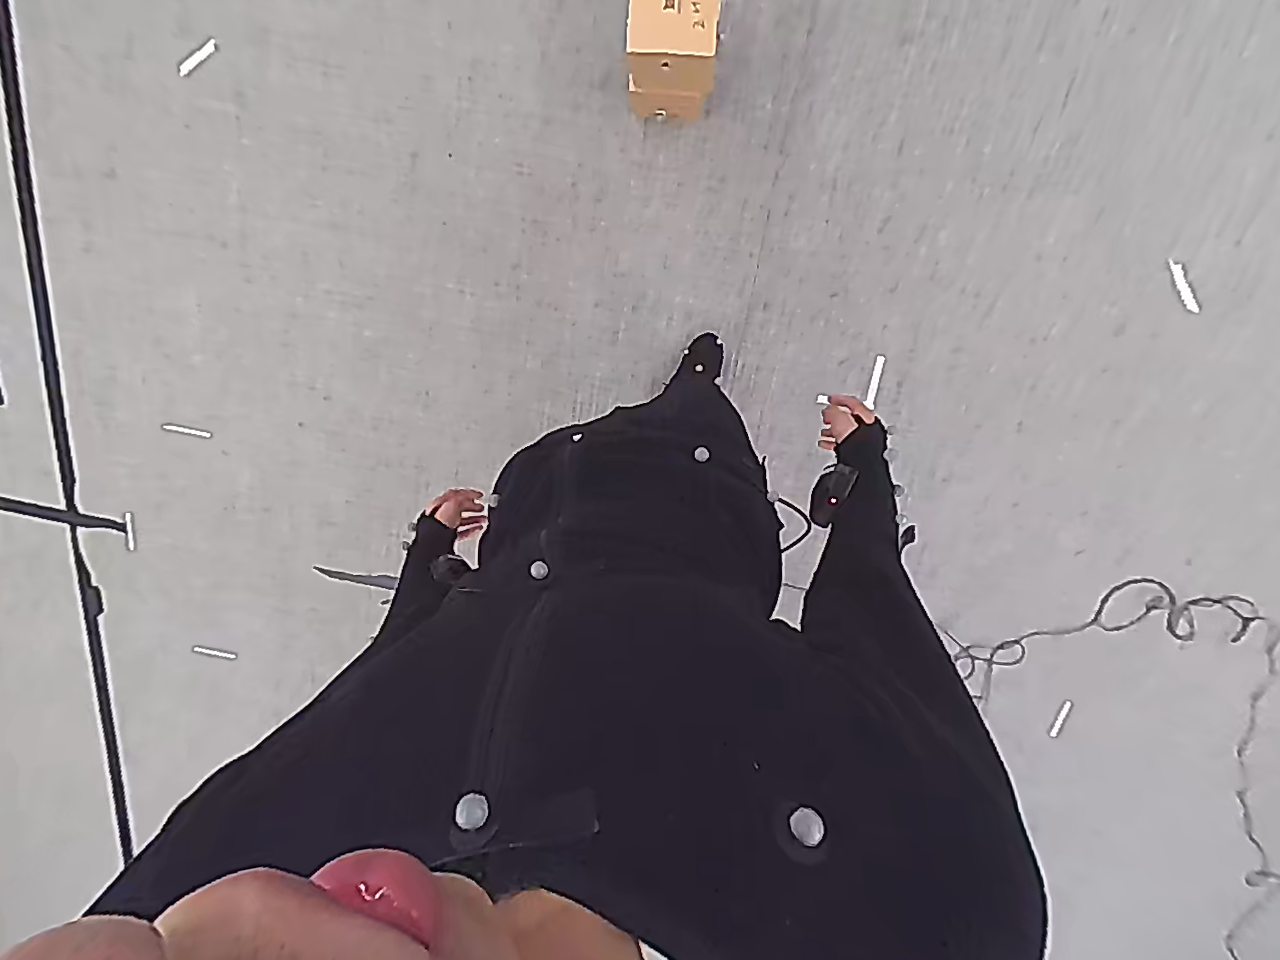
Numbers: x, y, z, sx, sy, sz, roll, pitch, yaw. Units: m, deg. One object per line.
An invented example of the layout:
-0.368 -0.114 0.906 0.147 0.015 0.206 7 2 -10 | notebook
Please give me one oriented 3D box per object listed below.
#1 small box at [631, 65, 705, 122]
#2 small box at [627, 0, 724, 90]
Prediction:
0.074 -0.967 1.255 0.168 0.176 0.179 7 107 3 | small box
0.075 -0.921 1.096 0.179 0.176 0.168 6 107 3 | small box
